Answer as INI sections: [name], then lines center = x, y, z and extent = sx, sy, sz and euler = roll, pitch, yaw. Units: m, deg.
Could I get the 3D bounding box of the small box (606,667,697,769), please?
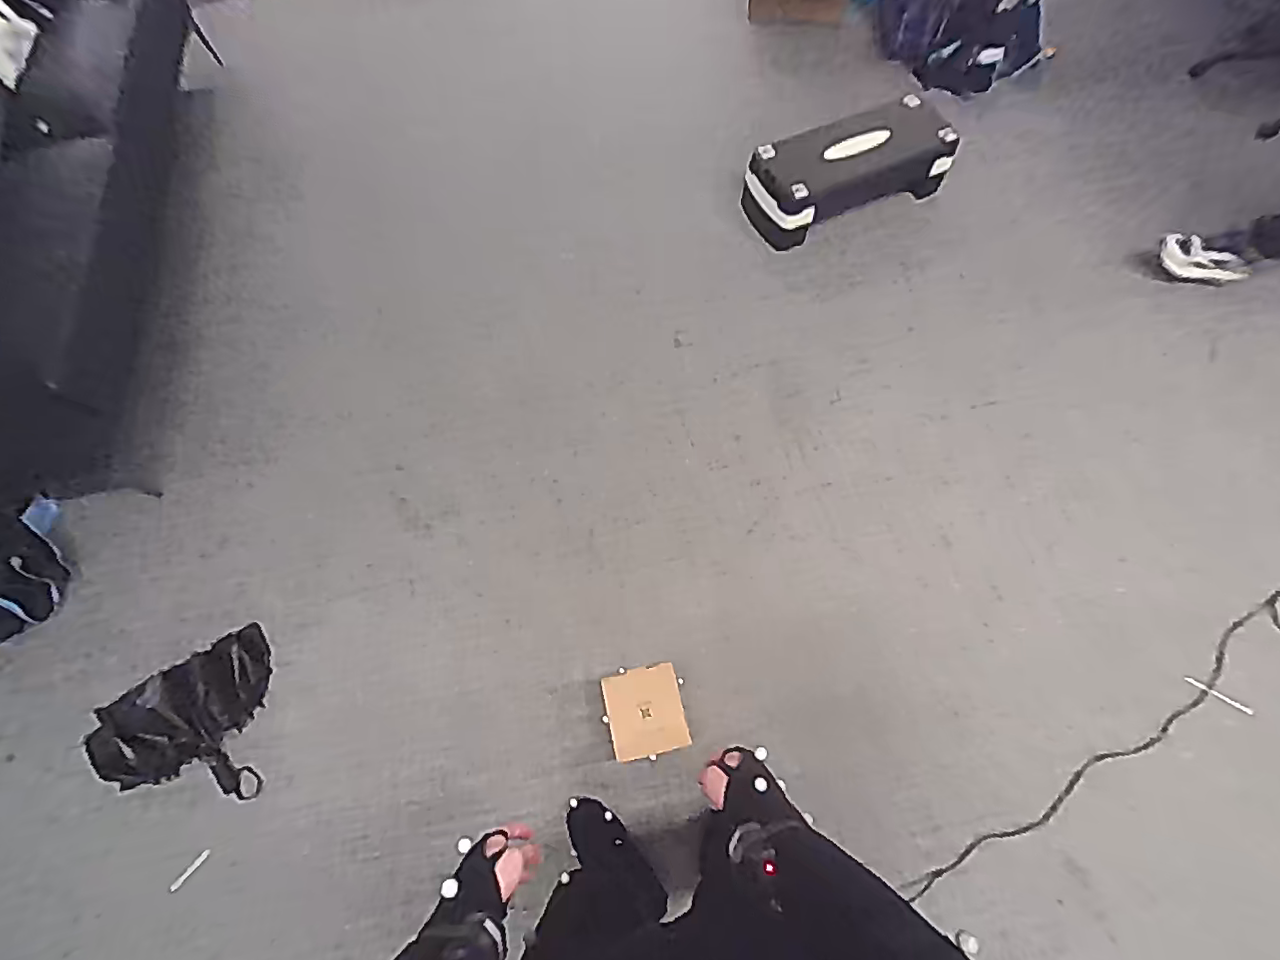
[small box]
center = 0.026, 0.545, 1.245
extent = 0.168, 0.176, 0.179
euler = -15, 67, -2
